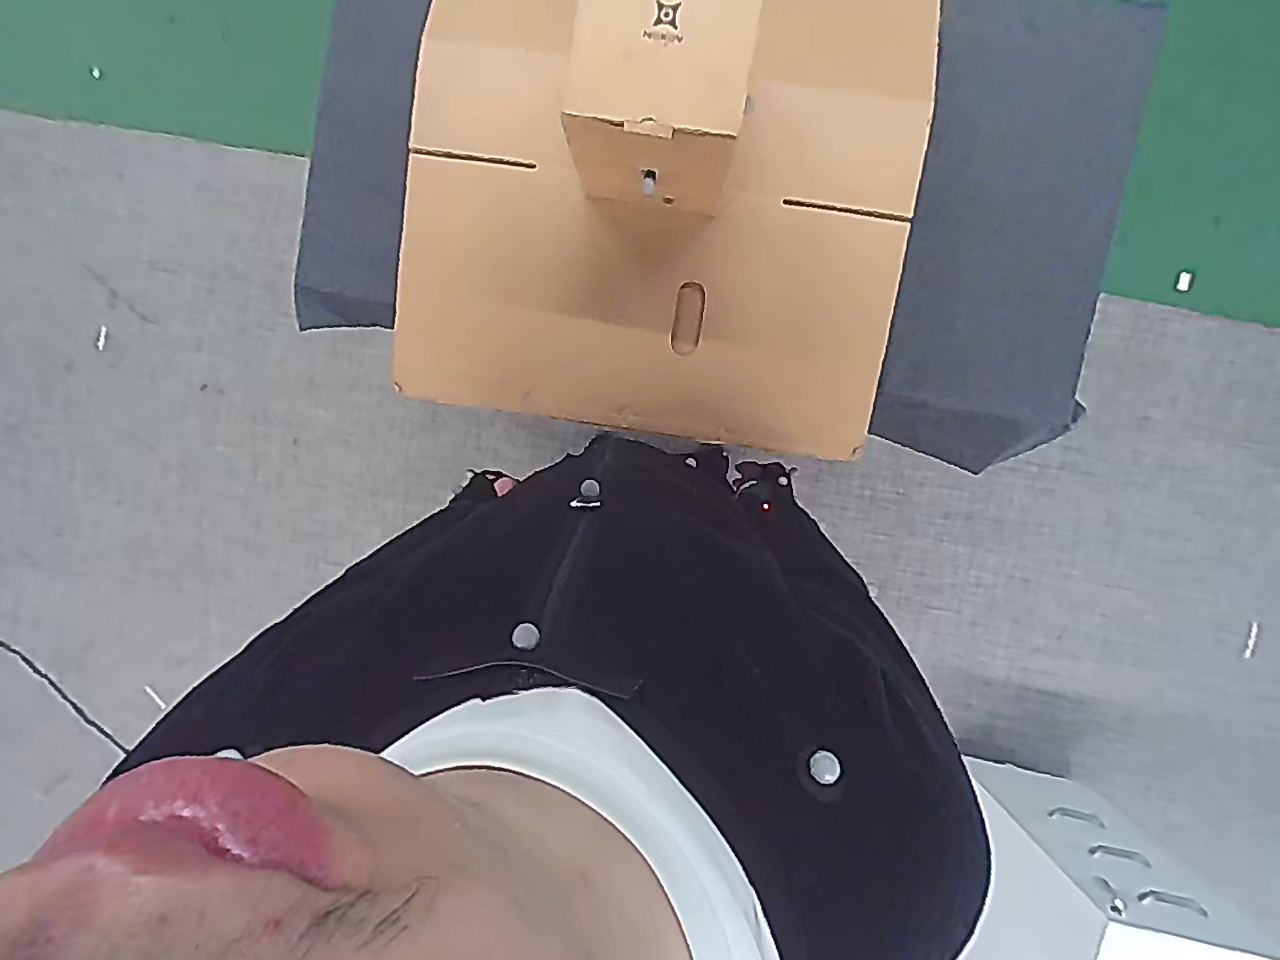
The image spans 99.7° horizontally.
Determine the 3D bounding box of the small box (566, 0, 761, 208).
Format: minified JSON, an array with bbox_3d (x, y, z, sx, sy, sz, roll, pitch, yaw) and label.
[{"bbox_3d":[0.027,-0.408,0.563,0.168,0.176,0.179,7,95,2],"label":"small box"}]
